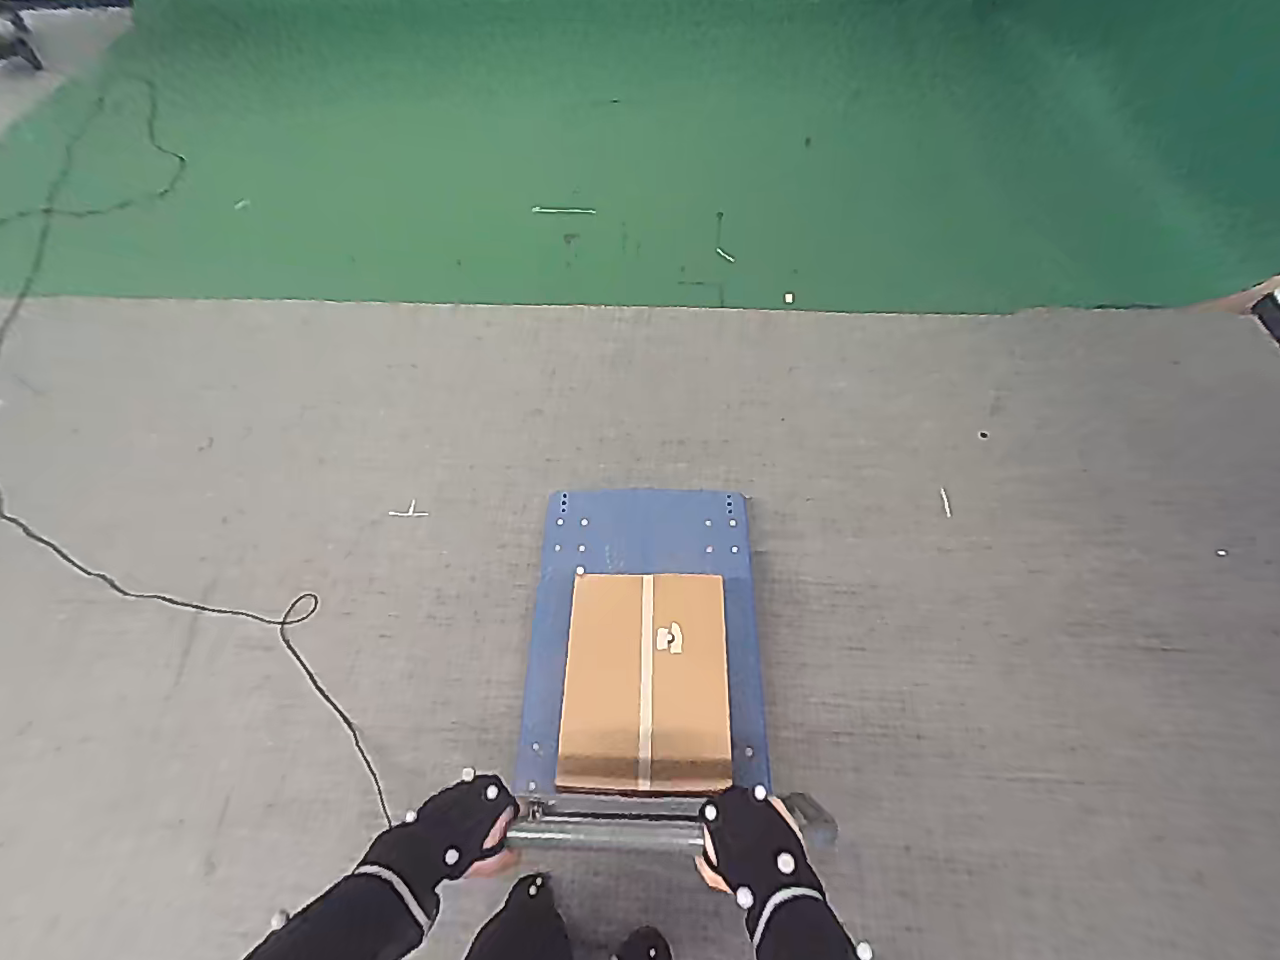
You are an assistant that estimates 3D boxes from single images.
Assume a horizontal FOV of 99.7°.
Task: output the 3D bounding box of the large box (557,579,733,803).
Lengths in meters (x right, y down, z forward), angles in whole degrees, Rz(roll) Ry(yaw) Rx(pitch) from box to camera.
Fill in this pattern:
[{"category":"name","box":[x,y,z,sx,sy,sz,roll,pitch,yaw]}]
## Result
[{"category":"large box","box":[0.018,0.458,1.167,0.320,0.320,0.408,0,58,2]}]
